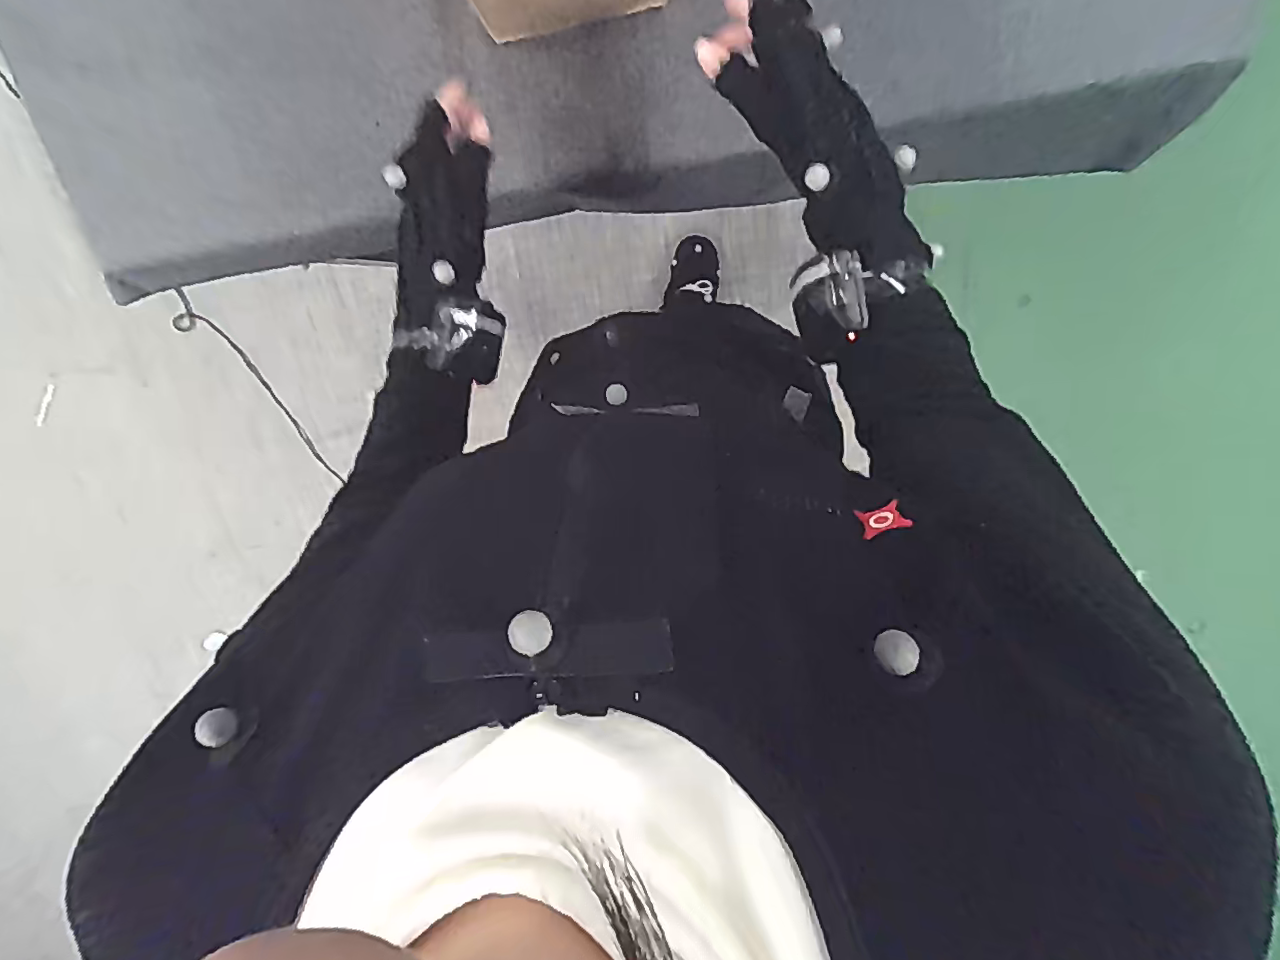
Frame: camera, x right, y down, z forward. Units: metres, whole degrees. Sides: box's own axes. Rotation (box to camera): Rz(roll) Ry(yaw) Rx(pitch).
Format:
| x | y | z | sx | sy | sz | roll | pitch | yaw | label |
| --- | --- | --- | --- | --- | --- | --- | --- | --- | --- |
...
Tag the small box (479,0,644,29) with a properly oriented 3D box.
| x | y | z | sx | sy | sz | roll | pitch | yaw | label |
| --- | --- | --- | --- | --- | --- | --- | --- | --- | --- |
| -0.074 | -0.497 | 0.424 | 0.179 | 0.176 | 0.168 | -9 | 111 | 4 | small box |
